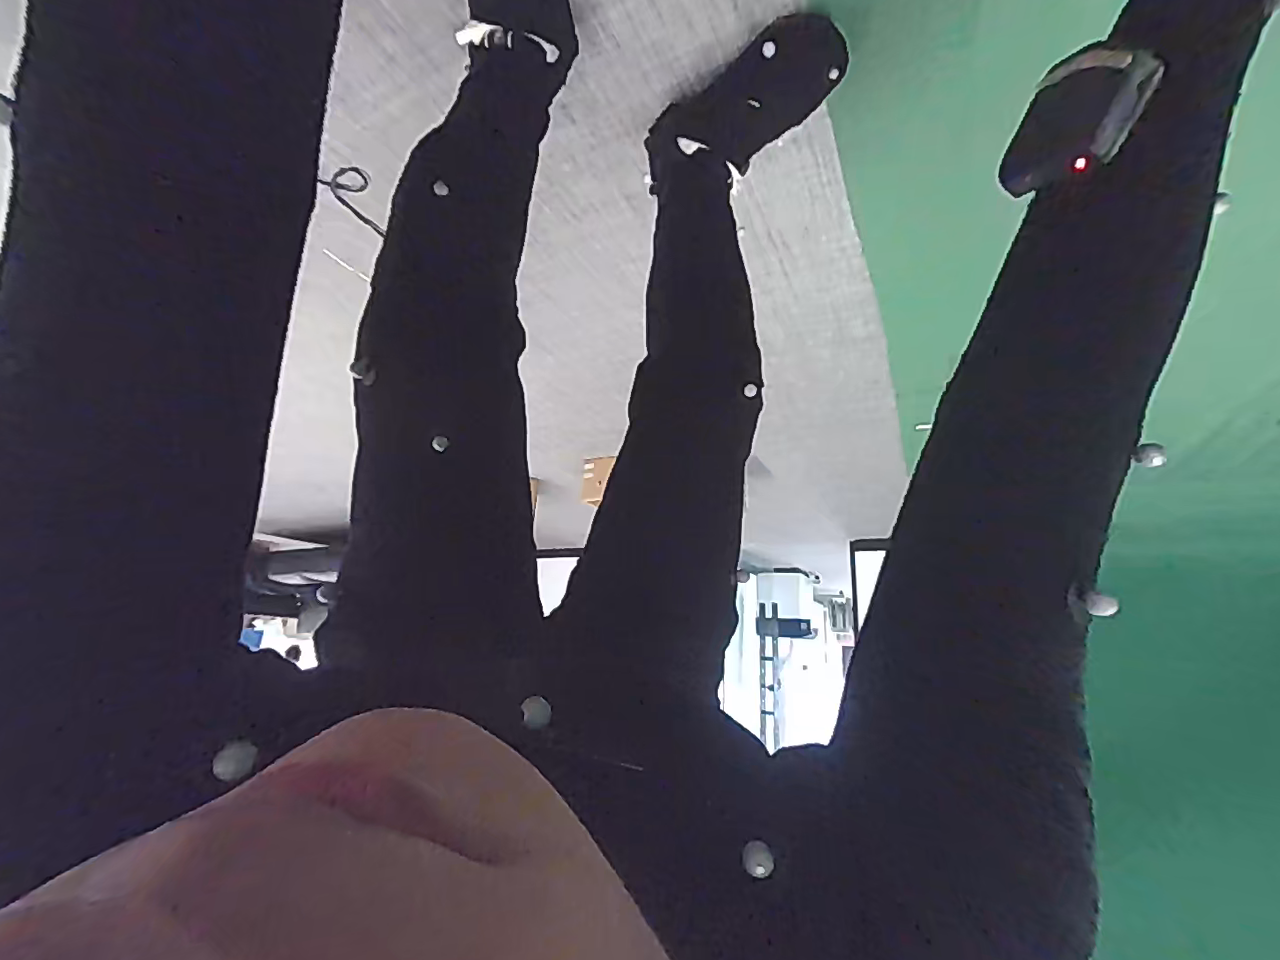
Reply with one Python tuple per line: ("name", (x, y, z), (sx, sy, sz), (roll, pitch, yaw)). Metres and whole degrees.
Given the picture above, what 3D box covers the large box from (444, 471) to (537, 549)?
("large box", (-0.739, 0.156, 2.706), (0.408, 0.320, 0.320), (7, 164, -13))
